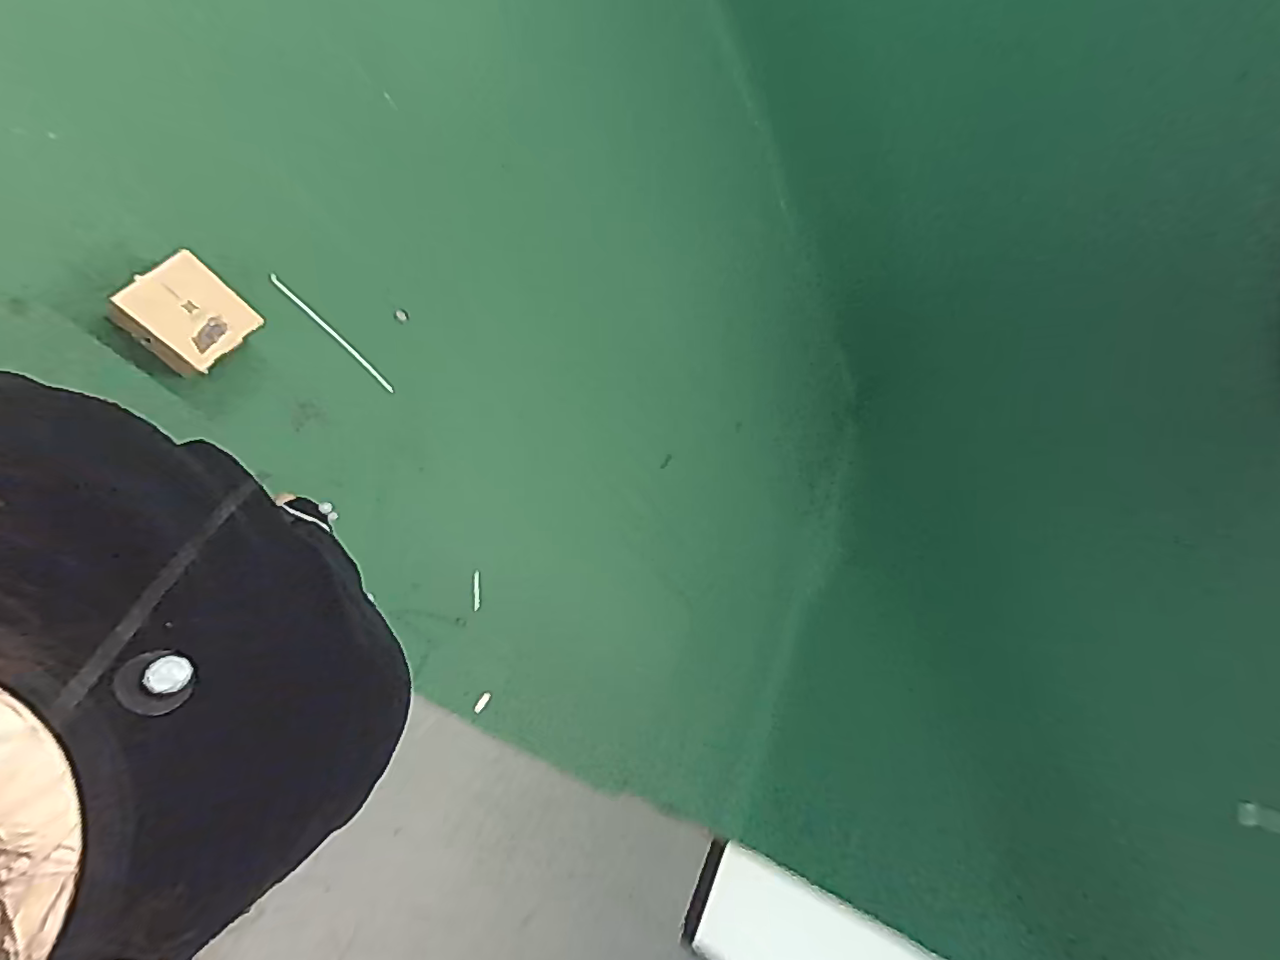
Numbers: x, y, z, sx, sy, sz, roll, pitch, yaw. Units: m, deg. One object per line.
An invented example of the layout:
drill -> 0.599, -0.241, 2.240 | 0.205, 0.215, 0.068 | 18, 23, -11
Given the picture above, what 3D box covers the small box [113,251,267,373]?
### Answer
small box -> -0.932, -0.338, 1.122 | 0.179, 0.176, 0.168 | 52, 56, -34
